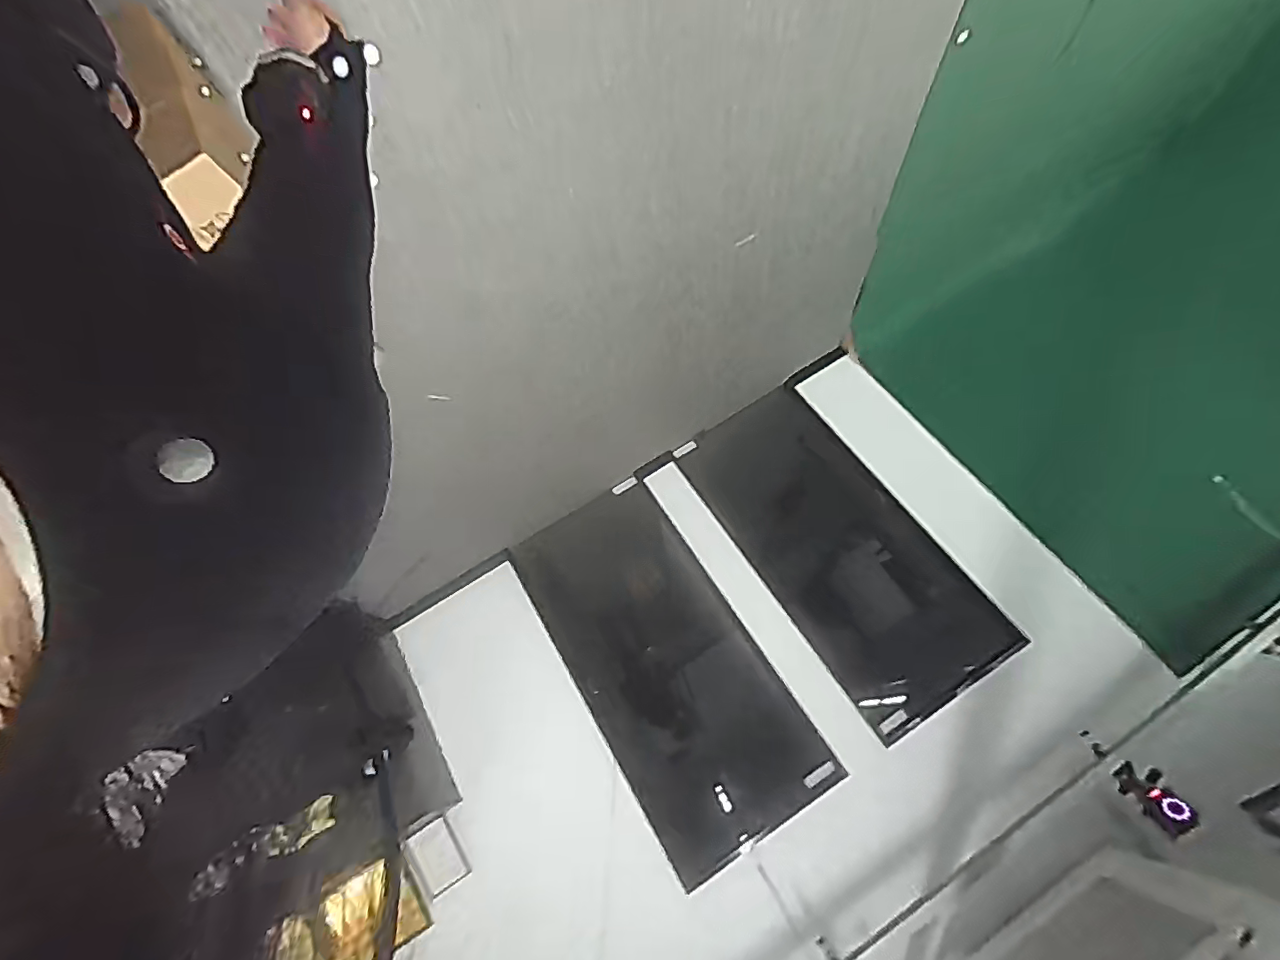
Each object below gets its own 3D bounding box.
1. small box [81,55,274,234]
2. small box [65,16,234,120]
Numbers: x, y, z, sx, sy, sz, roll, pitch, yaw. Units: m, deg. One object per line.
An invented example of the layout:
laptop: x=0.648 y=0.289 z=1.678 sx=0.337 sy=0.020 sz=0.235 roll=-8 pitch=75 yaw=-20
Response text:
small box: x=-0.773 y=-0.565 z=0.907 sx=0.168 sy=0.176 sz=0.179 roll=-31 pitch=159 yaw=-3
small box: x=-0.865 y=-0.683 z=0.970 sx=0.168 sy=0.176 sz=0.179 roll=-31 pitch=157 yaw=-6
